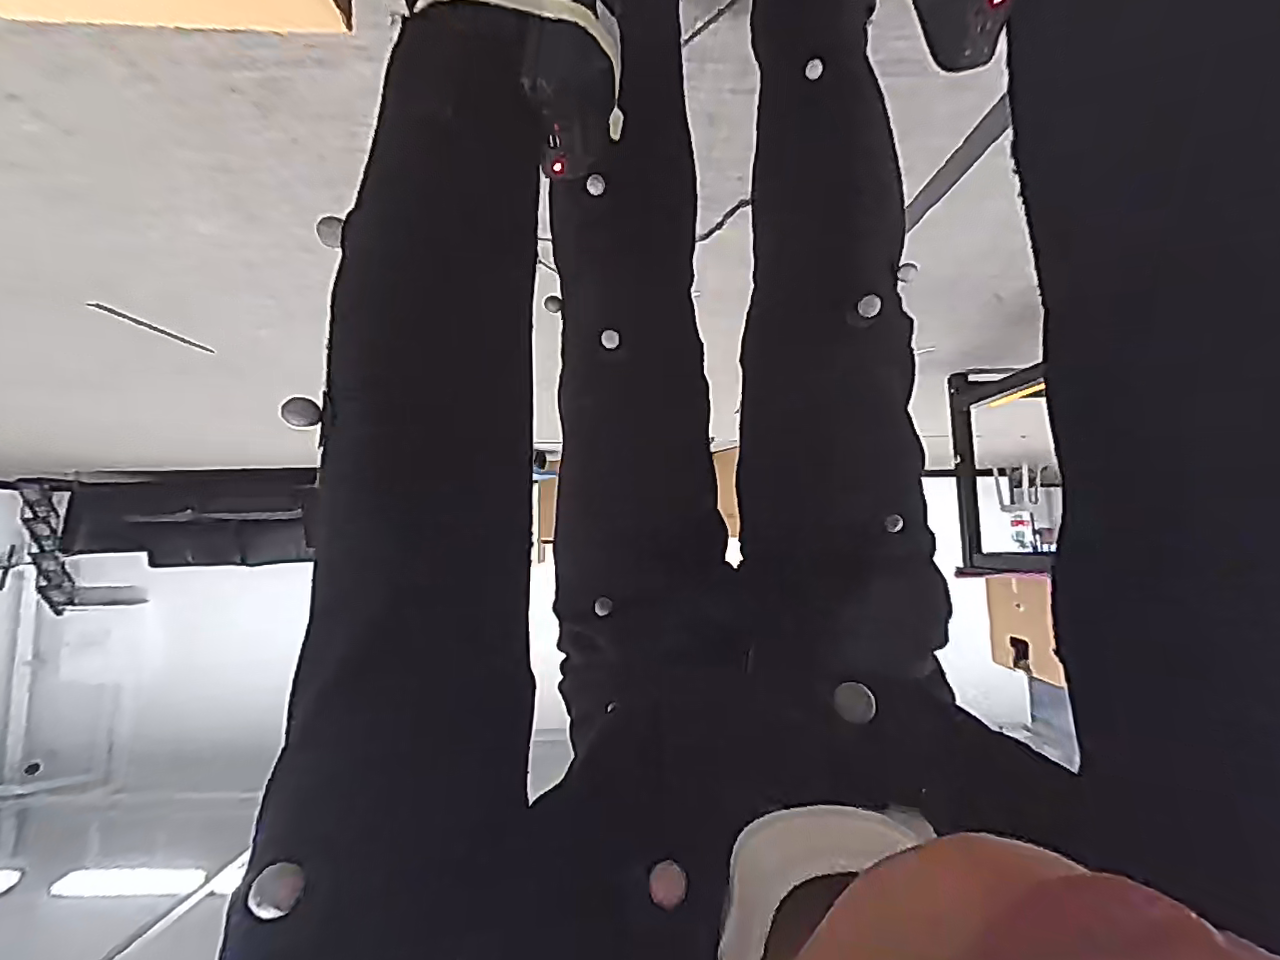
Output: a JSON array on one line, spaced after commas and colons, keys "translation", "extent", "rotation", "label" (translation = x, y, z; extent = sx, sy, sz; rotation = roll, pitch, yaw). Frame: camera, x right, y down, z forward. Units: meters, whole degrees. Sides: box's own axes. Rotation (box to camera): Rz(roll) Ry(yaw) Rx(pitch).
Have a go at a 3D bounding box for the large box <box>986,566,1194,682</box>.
[{"translation": [1.422, 0.453, 1.749], "extent": [0.408, 0.320, 0.320], "rotation": [-2, 175, 0], "label": "large box"}]
